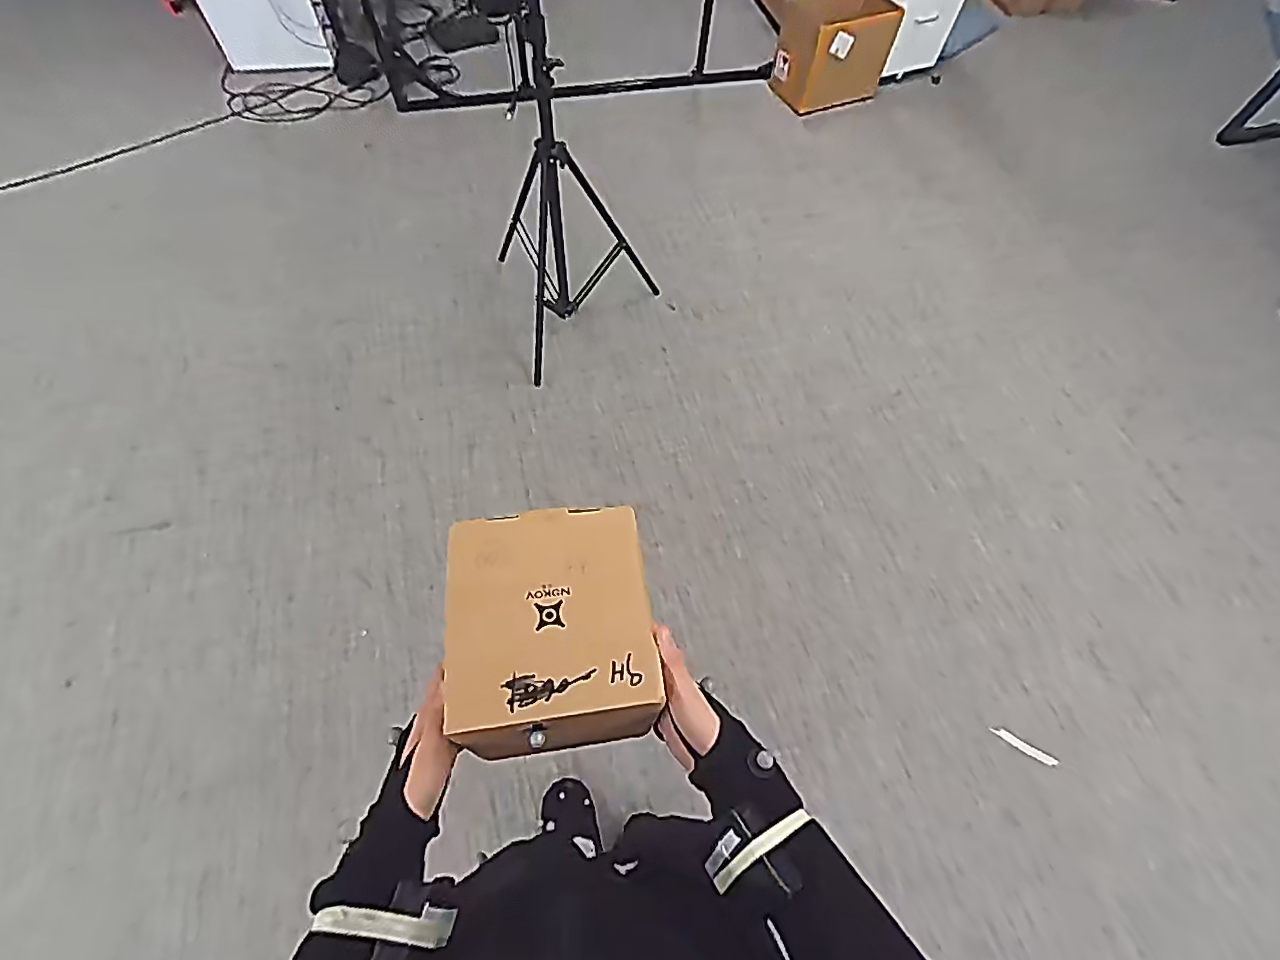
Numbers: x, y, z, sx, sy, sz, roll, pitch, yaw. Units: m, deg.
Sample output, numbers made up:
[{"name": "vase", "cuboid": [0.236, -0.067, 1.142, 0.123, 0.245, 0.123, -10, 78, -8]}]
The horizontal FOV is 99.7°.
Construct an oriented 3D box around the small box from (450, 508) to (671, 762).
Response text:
[{"name": "small box", "cuboid": [-0.075, 0.148, 0.509, 0.168, 0.176, 0.179, -5, 57, -8]}]
